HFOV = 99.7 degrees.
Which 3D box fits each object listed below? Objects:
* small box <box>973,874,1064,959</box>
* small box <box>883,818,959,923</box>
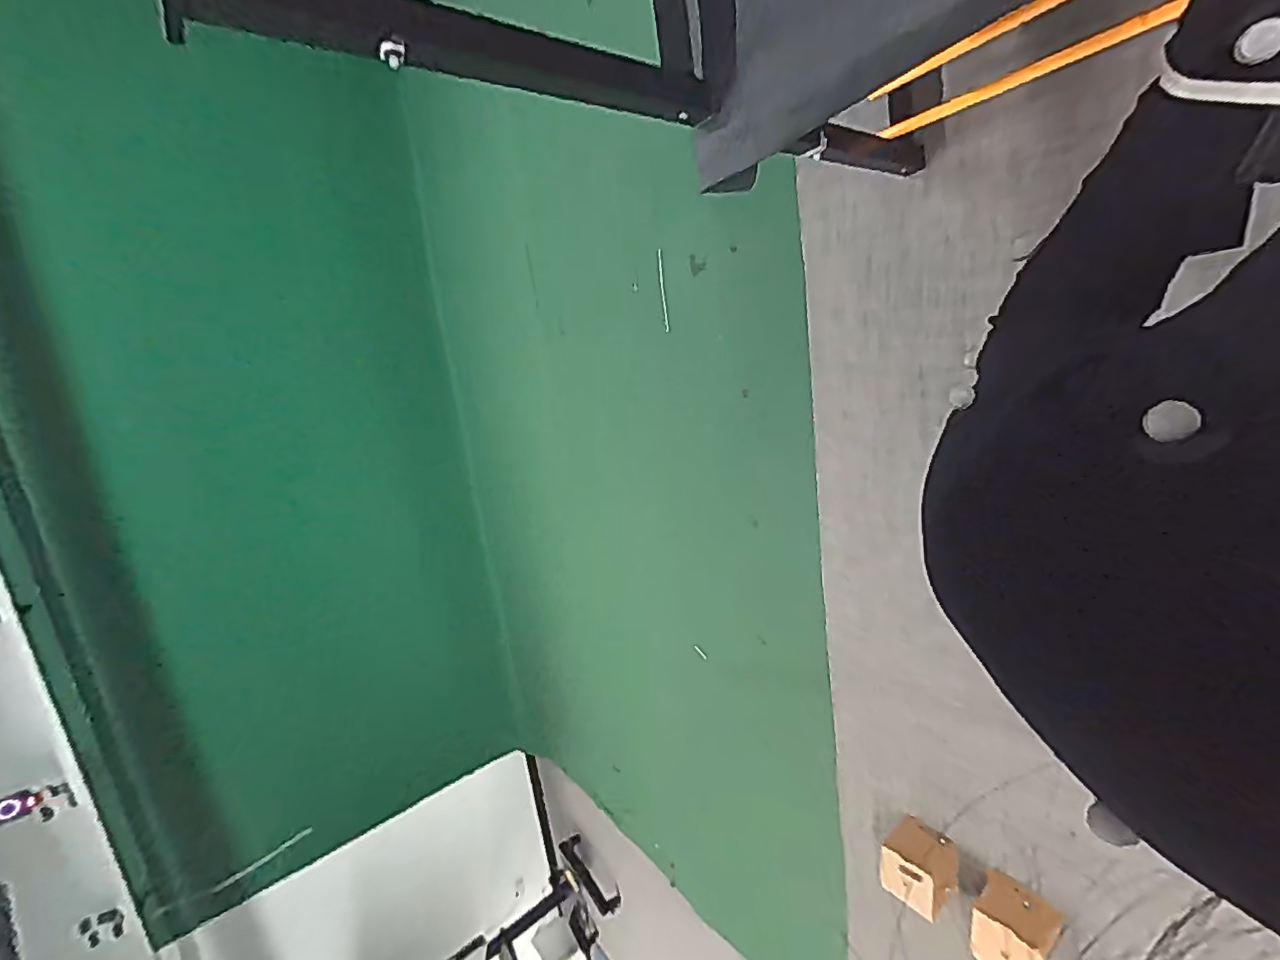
[{"bbox_3d":[1.064,1.276,1.520,0.168,0.176,0.179,11,111,51],"label":"small box"},{"bbox_3d":[0.897,1.235,1.727,0.168,0.176,0.179,10,112,51],"label":"small box"}]
